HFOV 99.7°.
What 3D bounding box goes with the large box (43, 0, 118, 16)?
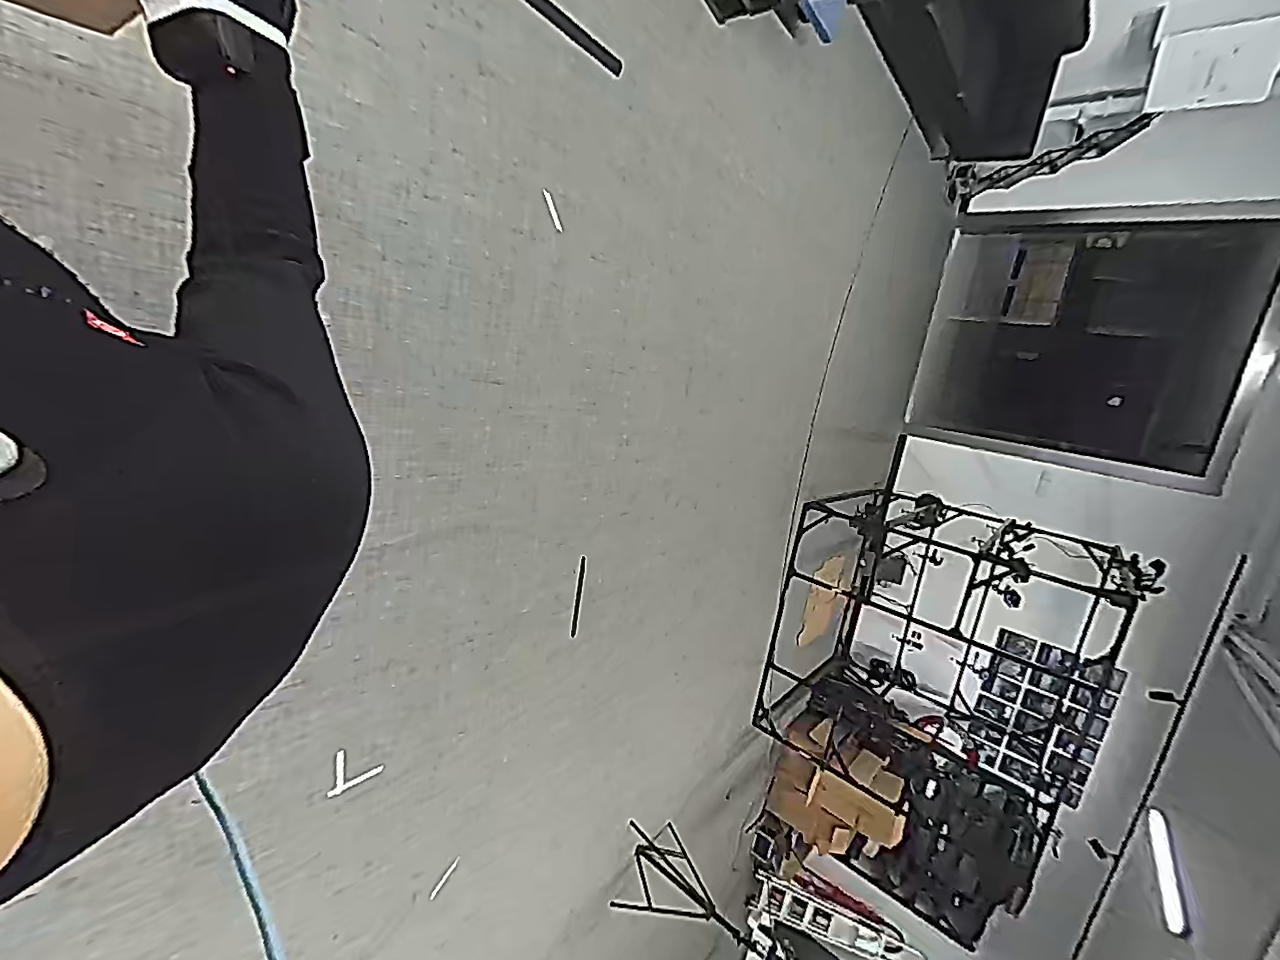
[{"bbox_3d":[-0.525,-0.514,0.254,0.408,0.320,0.320,-15,122,-50],"label":"large box"}]
